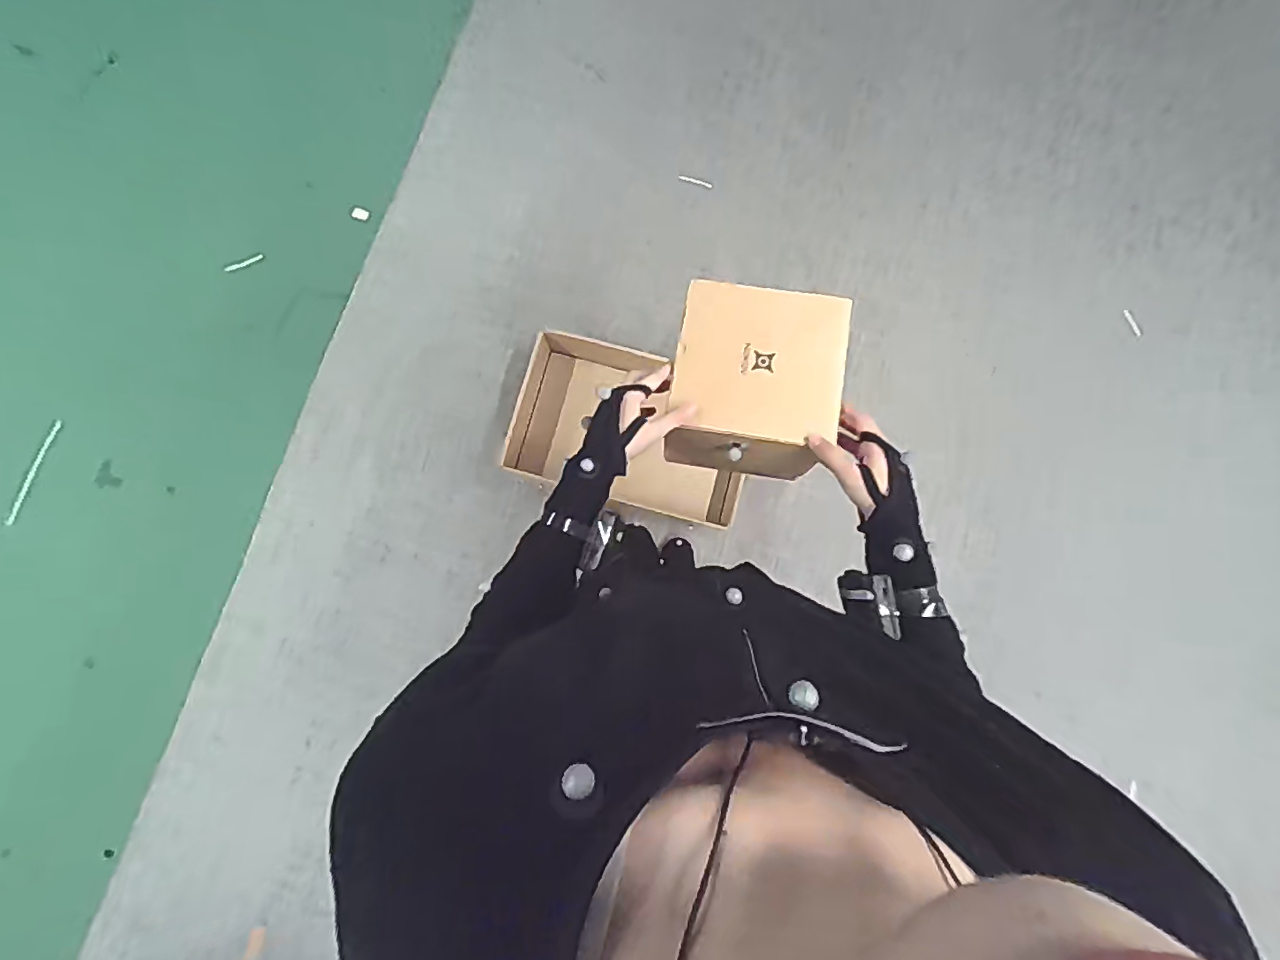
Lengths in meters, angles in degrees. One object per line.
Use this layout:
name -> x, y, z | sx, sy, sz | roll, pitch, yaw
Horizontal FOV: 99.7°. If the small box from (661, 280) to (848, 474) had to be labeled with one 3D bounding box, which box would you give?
small box -> 0.125, -0.109, 0.638 | 0.179, 0.176, 0.168 | 8, 79, 6
